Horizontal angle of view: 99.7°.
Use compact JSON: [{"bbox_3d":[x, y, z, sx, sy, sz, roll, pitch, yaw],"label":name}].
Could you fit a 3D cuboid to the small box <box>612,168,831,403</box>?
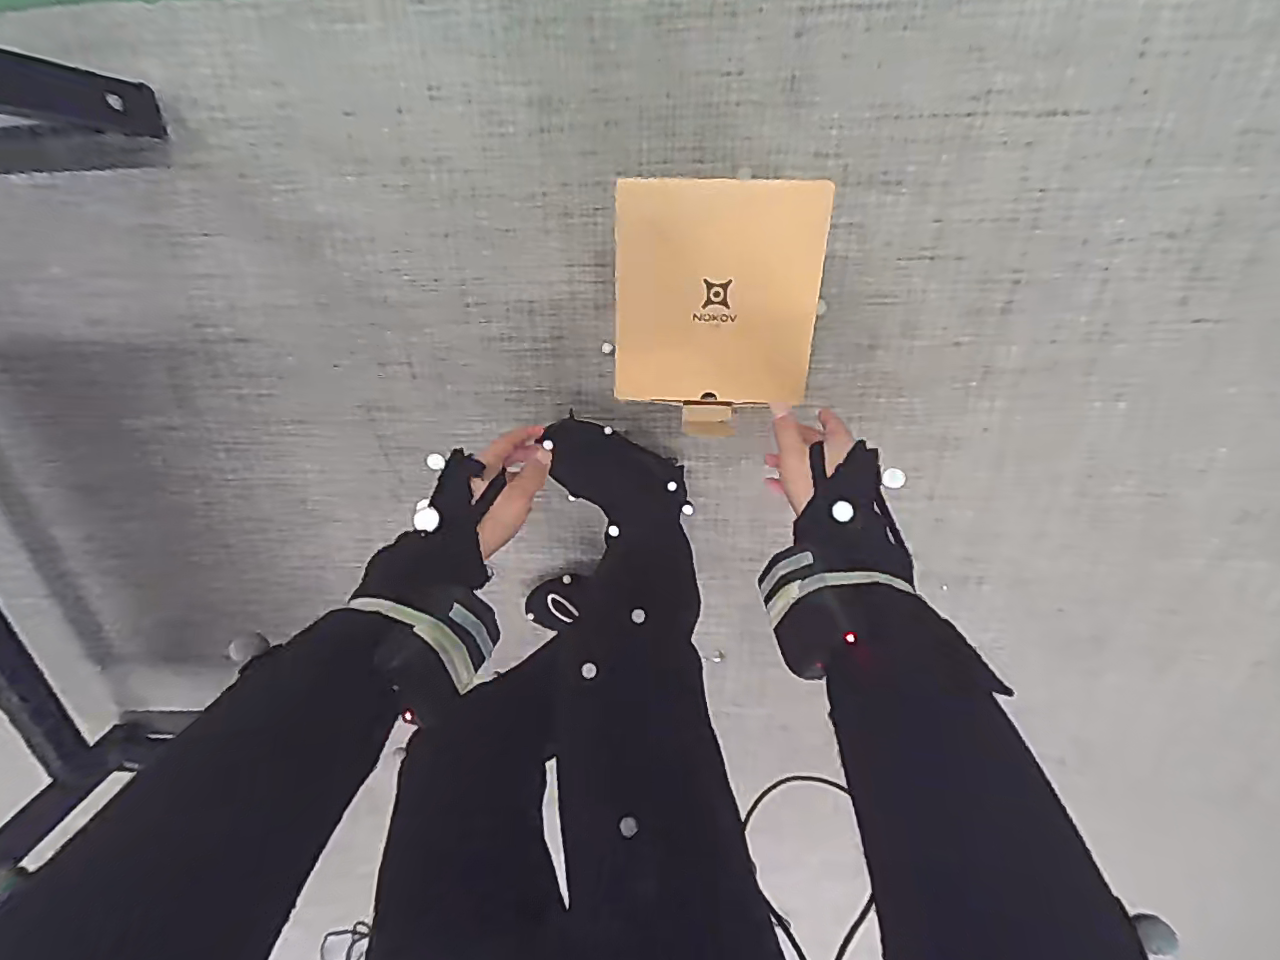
[{"bbox_3d":[0.061,-0.181,0.505,0.168,0.176,0.179,2,115,2],"label":"small box"}]
